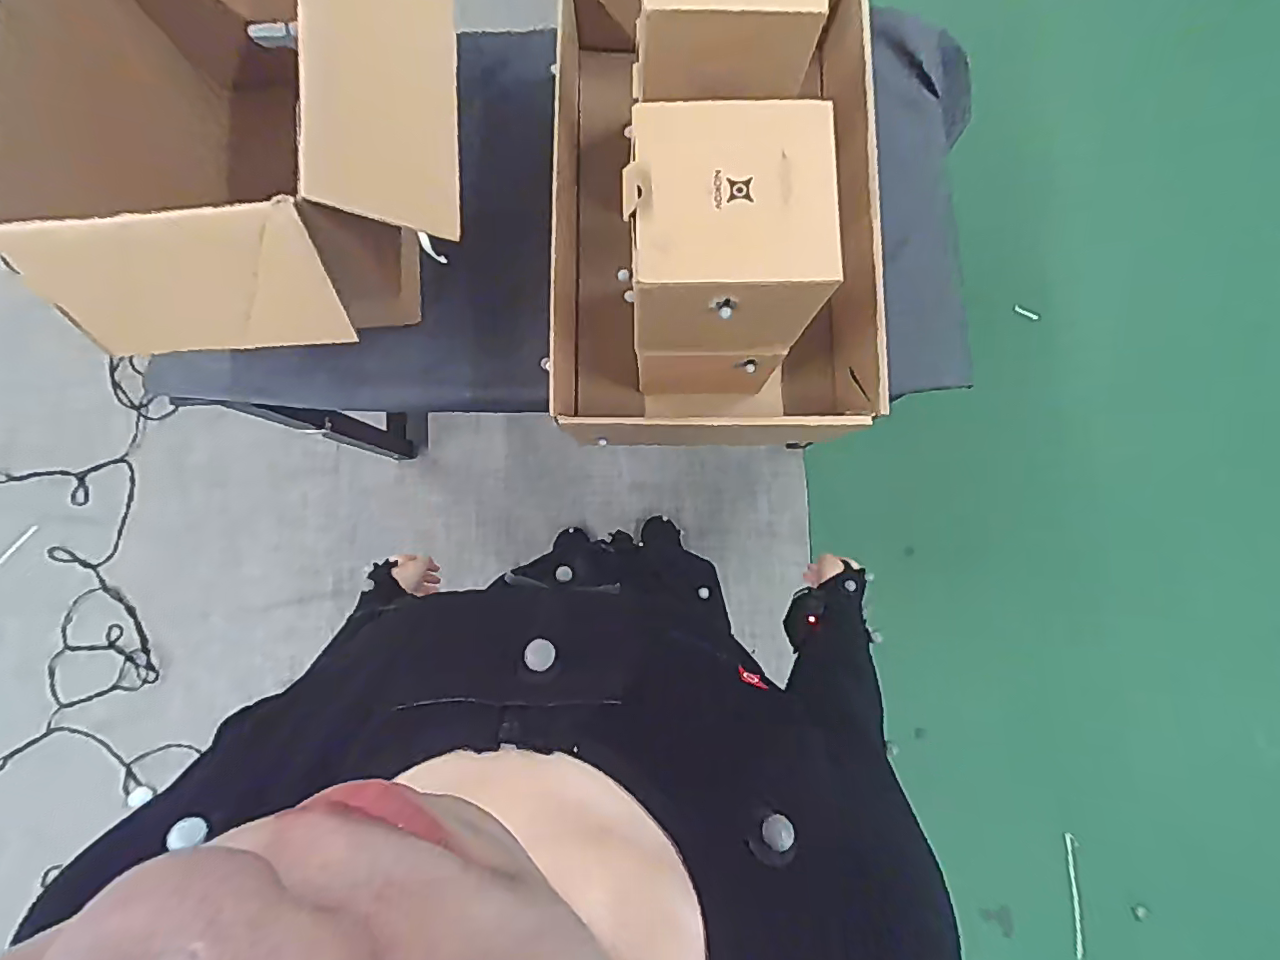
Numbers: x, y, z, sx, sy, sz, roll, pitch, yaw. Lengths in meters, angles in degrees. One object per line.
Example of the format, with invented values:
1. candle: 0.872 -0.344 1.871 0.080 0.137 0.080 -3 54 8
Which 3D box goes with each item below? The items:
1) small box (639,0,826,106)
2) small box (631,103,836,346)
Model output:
1. small box: 0.084 -0.495 0.566 0.168 0.176 0.179 1 87 -1
2. small box: 0.080 -0.241 0.547 0.179 0.176 0.168 -1 85 -2
